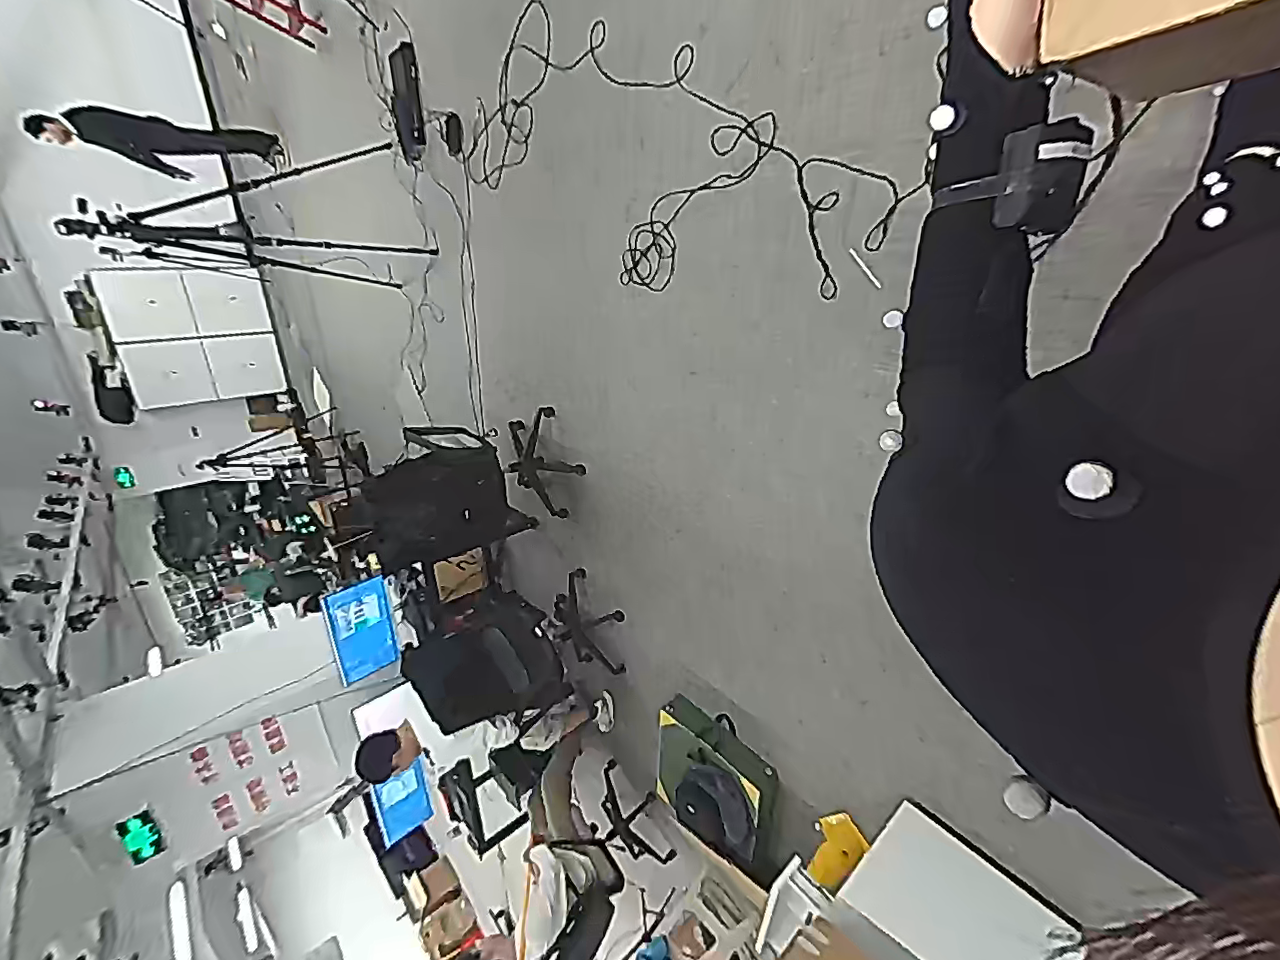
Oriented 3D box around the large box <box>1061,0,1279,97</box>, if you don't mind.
[{"bbox_3d":[0.488,-0.441,0.252,0.408,0.320,0.320,12,119,46],"label":"large box"}]
